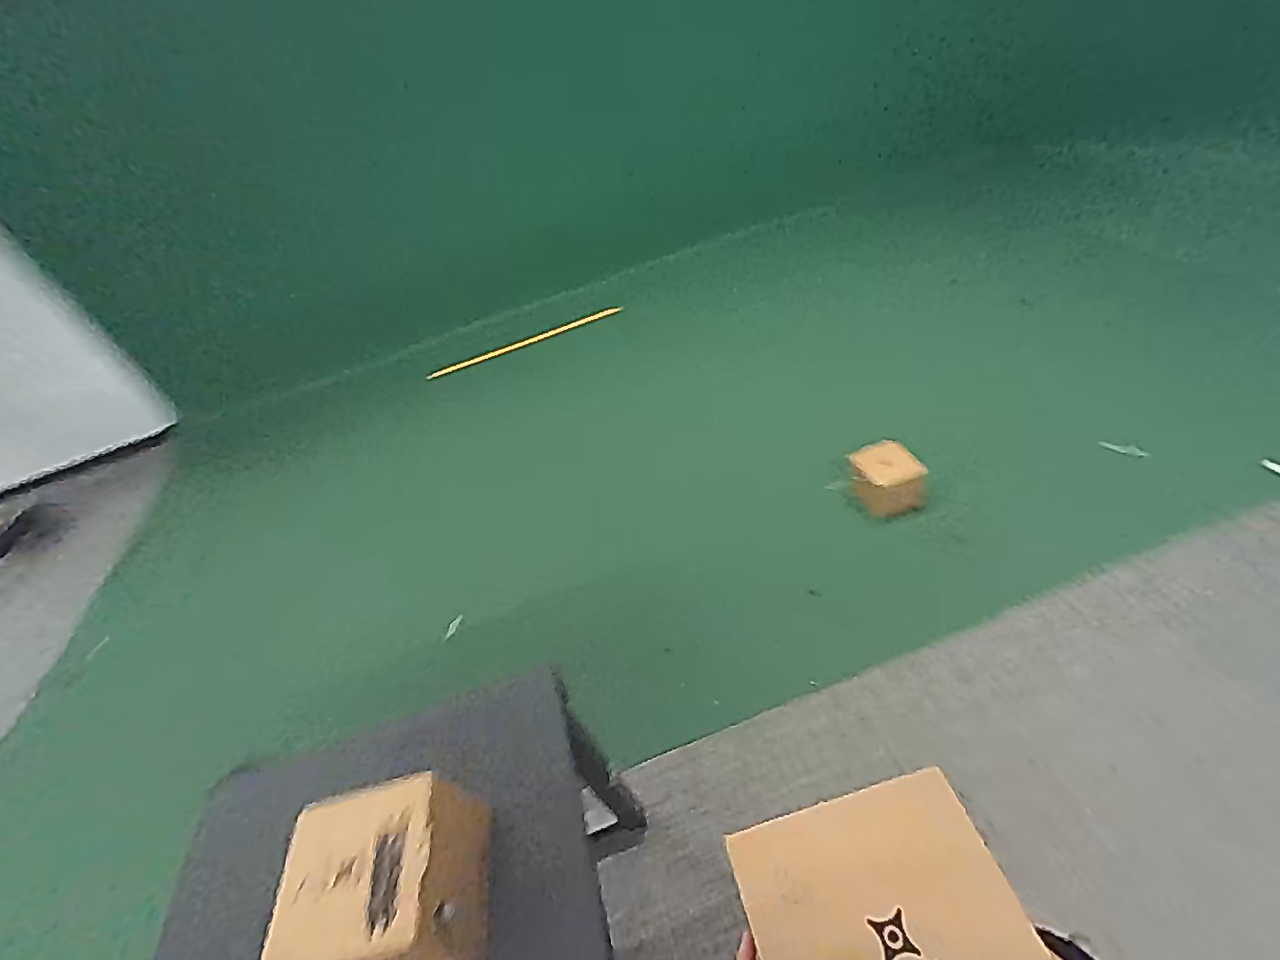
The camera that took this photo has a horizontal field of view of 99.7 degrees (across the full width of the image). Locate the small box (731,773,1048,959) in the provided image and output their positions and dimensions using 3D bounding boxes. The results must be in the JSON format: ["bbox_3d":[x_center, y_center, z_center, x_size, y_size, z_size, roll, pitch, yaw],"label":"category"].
[{"bbox_3d":[0.172,0.346,0.387,0.168,0.176,0.179,-17,47,-1],"label":"small box"}]

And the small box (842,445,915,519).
[{"bbox_3d":[0.824,0.015,1.879,0.168,0.176,0.179,-21,41,-3],"label":"small box"}]
